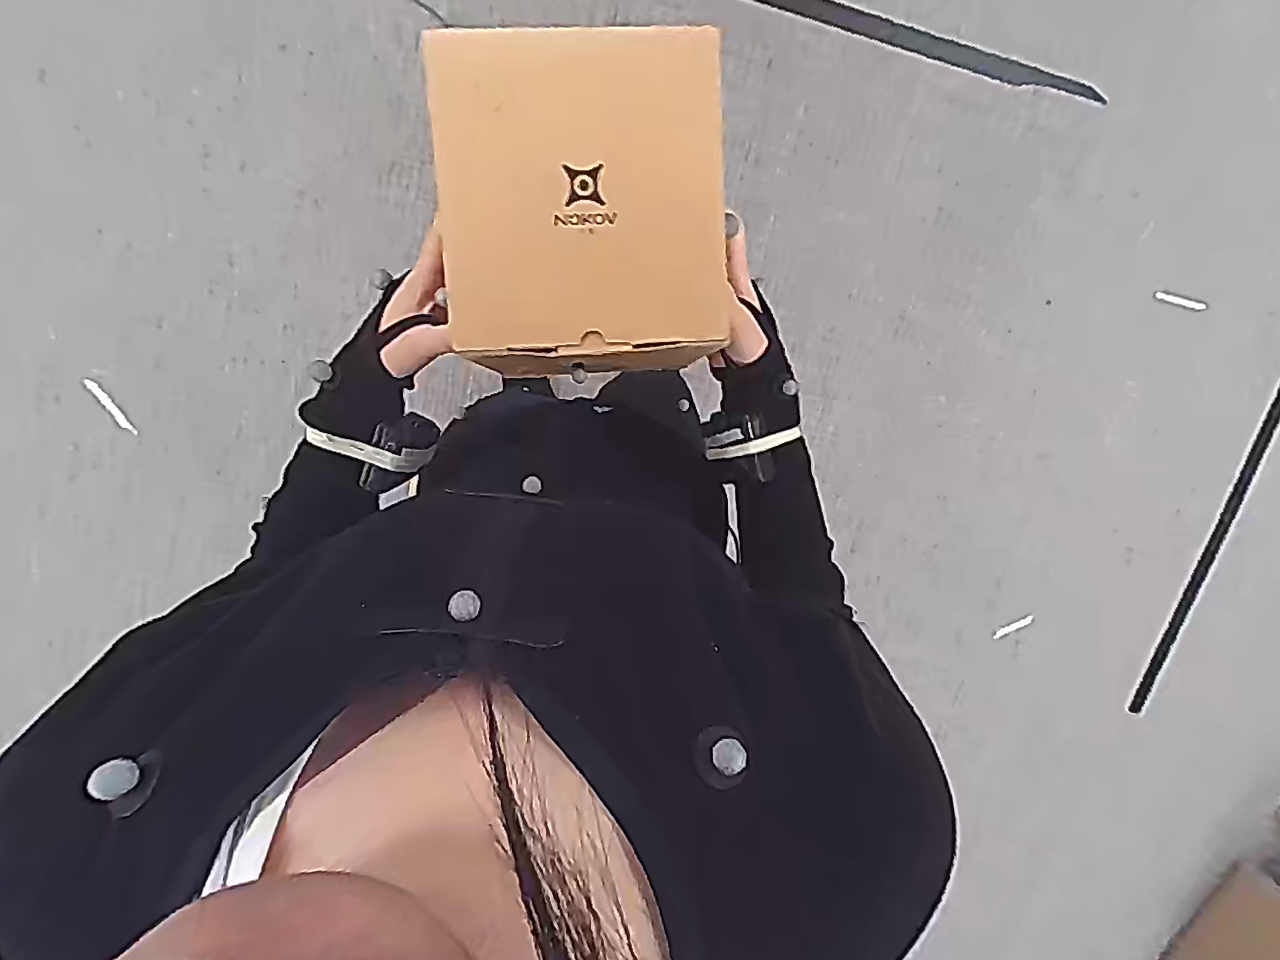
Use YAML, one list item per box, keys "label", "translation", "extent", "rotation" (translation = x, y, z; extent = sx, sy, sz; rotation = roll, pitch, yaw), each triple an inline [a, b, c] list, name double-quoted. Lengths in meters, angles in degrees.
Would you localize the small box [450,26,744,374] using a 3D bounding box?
- label: "small box"
  translation: [-0.028, -0.173, 0.389]
  extent: [0.168, 0.176, 0.179]
  rotation: [-3, 98, -4]
